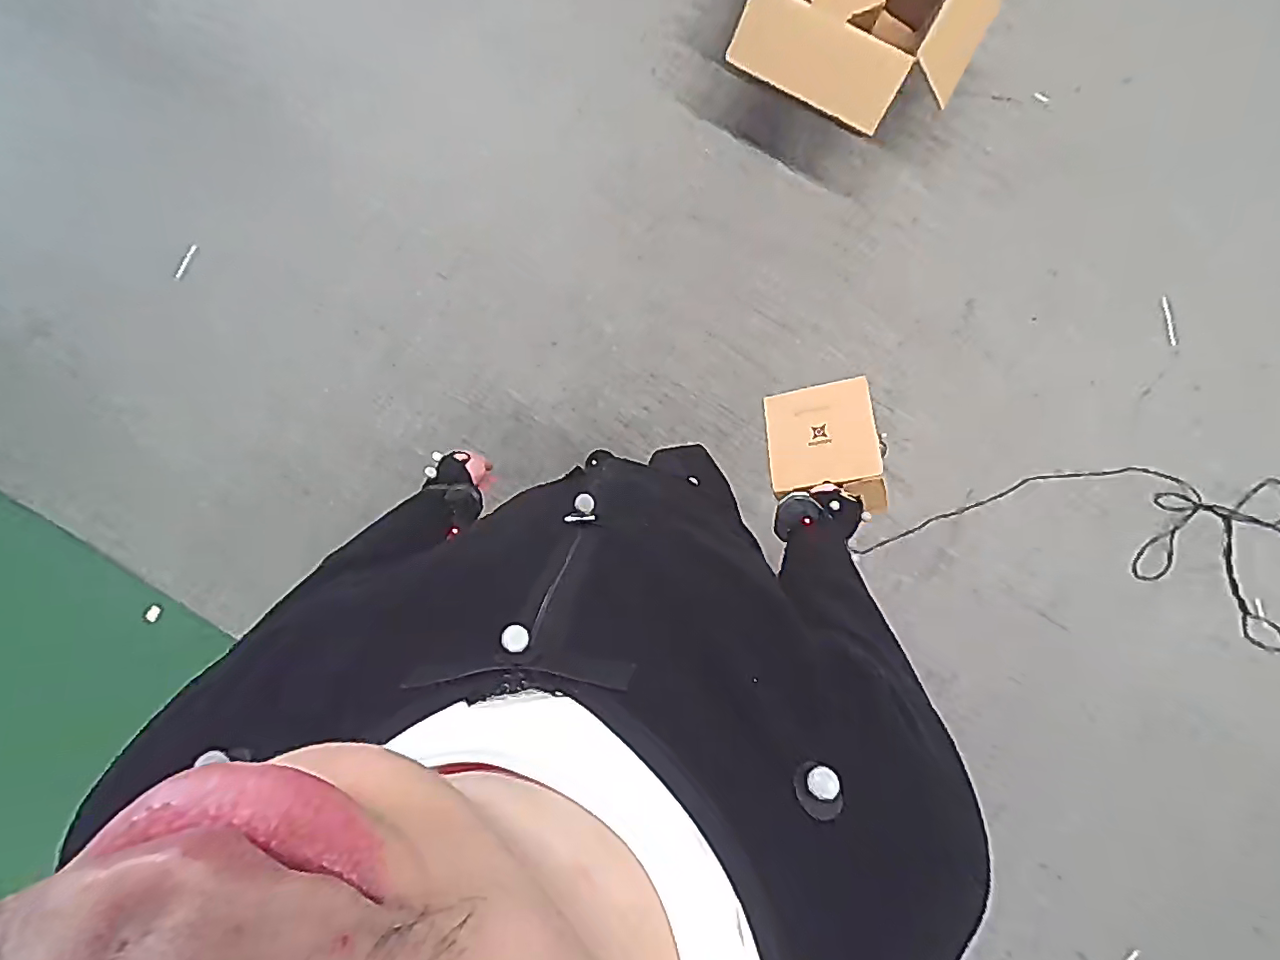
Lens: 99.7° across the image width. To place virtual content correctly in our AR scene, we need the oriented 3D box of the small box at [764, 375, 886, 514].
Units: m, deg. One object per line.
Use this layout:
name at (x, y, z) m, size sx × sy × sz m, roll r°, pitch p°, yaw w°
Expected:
small box at (0.318, -0.048, 0.924) m, size 0.168 × 0.176 × 0.179 m, roll -11°, pitch 66°, yaw 22°
